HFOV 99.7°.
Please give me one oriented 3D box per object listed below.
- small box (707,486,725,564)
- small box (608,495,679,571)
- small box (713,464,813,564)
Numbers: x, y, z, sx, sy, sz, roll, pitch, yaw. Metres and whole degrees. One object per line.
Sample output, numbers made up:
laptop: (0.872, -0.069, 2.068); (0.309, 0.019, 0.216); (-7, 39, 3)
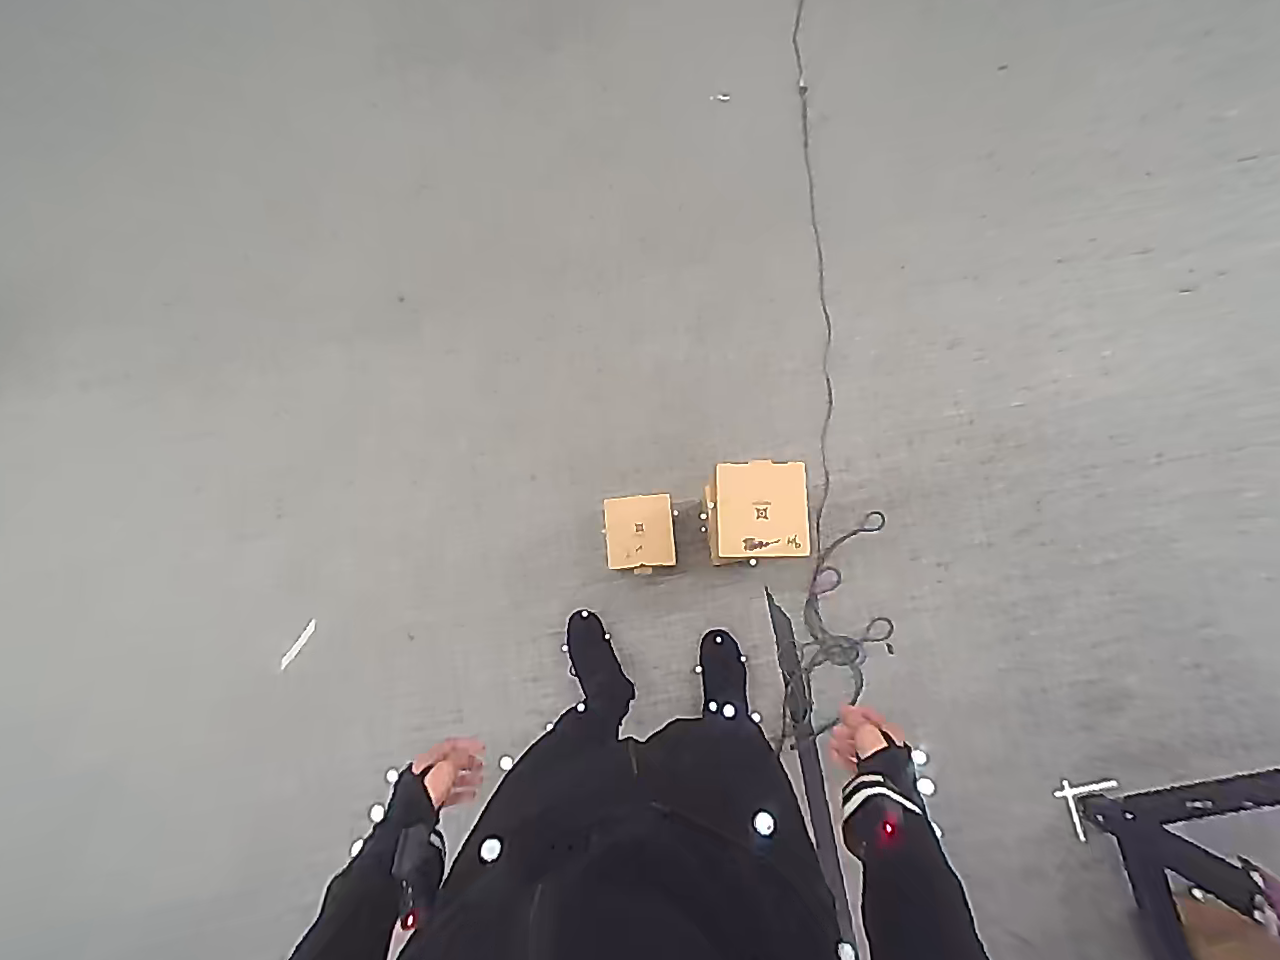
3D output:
small box: (0.247, 0.098, 1.227); (0.179, 0.176, 0.168); (-8, 80, 3)
small box: (0.011, 0.142, 1.397); (0.168, 0.176, 0.179); (-5, 80, 4)
small box: (0.234, 0.072, 1.065); (0.168, 0.176, 0.179); (-1, 79, 4)
